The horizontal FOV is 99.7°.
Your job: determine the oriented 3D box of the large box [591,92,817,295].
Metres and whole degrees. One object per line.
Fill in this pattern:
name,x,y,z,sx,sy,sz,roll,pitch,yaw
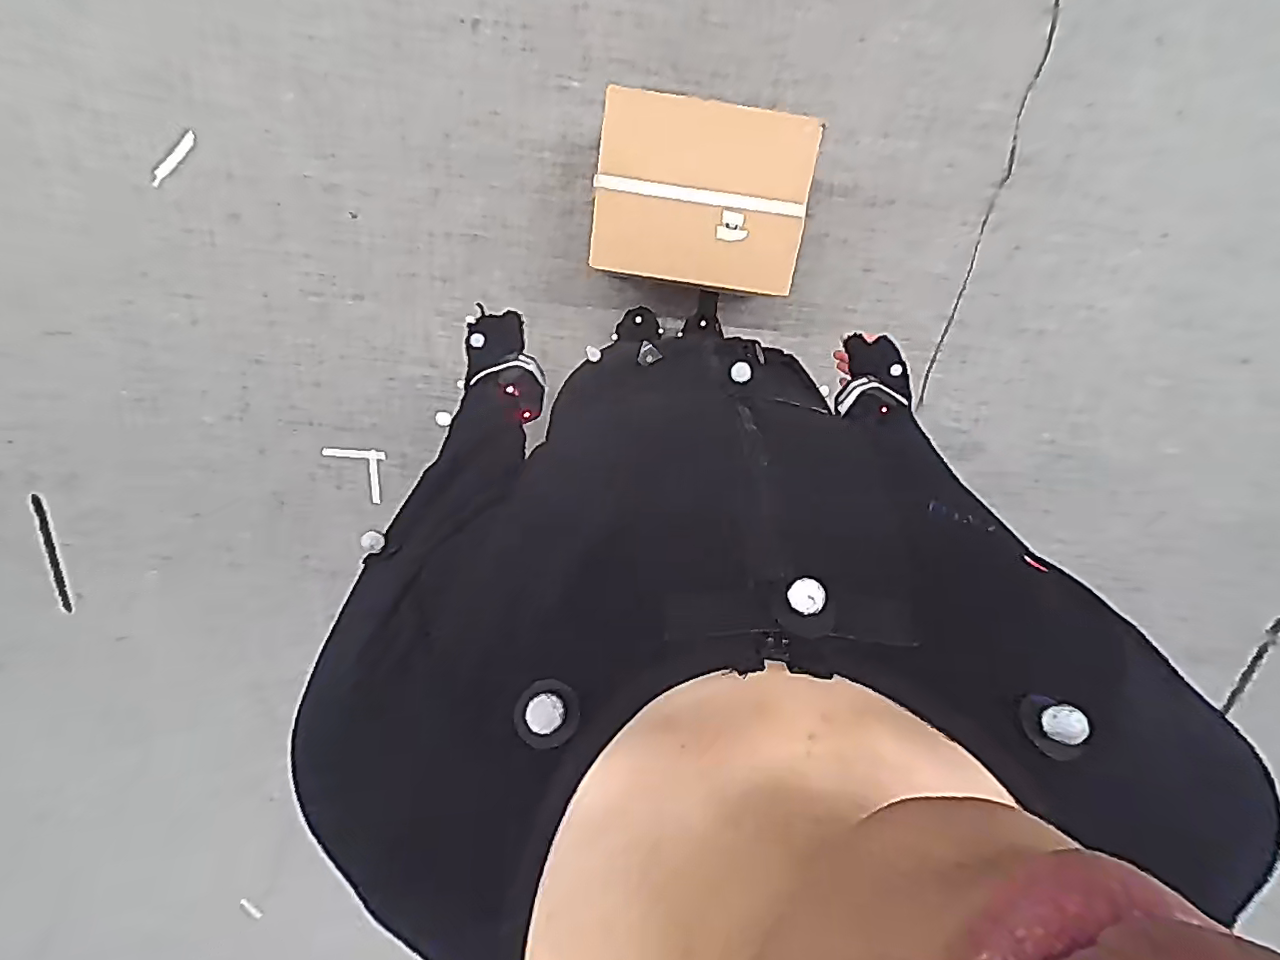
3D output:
large box,0.113,-0.590,1.182,0.408,0.320,0.320,7,109,-2
